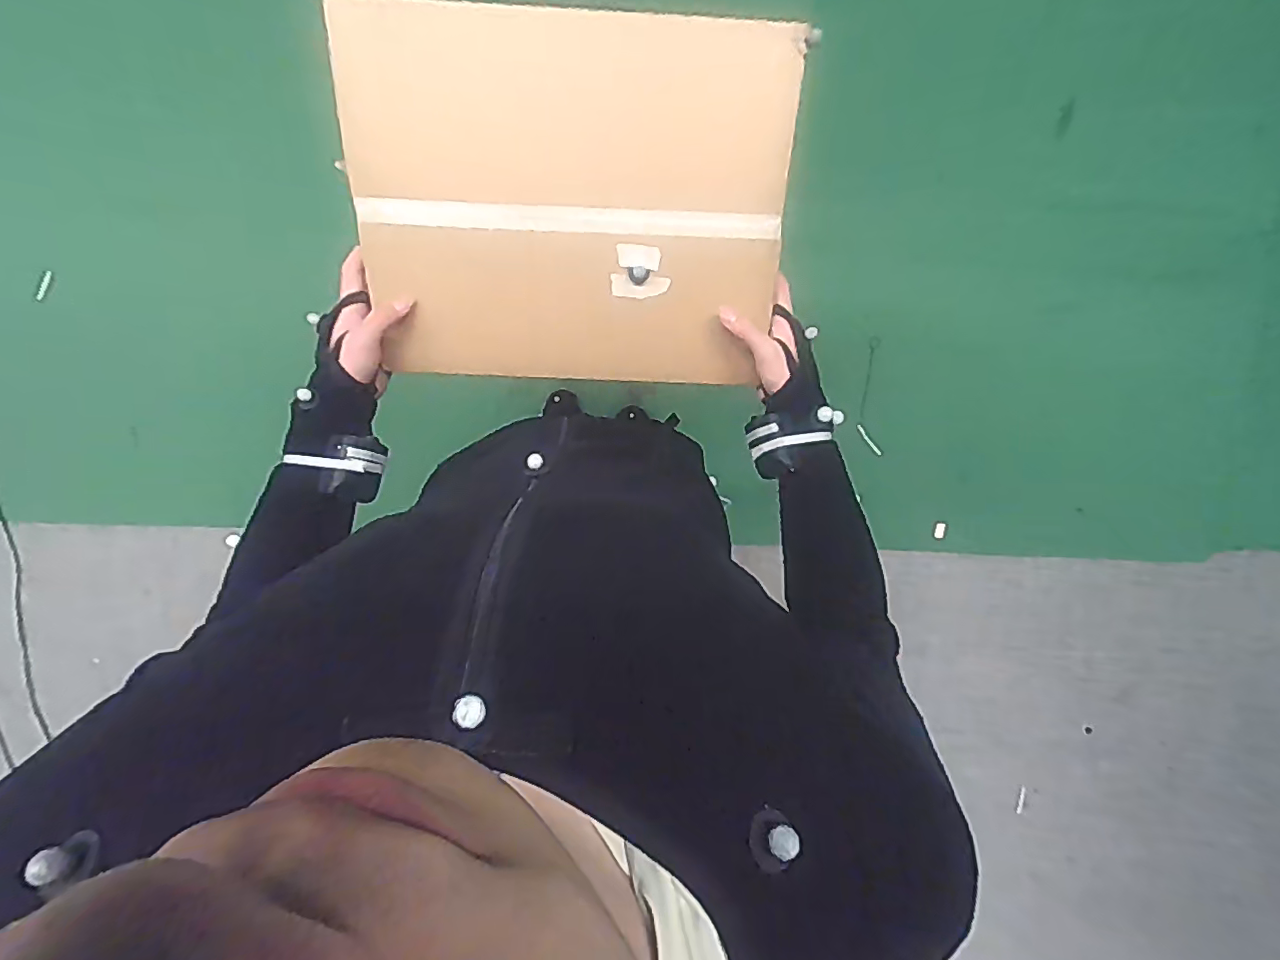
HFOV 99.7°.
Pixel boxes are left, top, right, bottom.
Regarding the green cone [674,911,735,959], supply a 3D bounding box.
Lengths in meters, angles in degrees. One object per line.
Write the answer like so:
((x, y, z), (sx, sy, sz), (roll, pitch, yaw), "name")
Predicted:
((0.241, 1.669, 1.774), (0.200, 0.368, 0.202), (8, 98, -4), "green cone")

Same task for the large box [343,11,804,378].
((-0.064, -0.315, 0.658), (0.408, 0.320, 0.320), (1, 116, -2), "large box")
